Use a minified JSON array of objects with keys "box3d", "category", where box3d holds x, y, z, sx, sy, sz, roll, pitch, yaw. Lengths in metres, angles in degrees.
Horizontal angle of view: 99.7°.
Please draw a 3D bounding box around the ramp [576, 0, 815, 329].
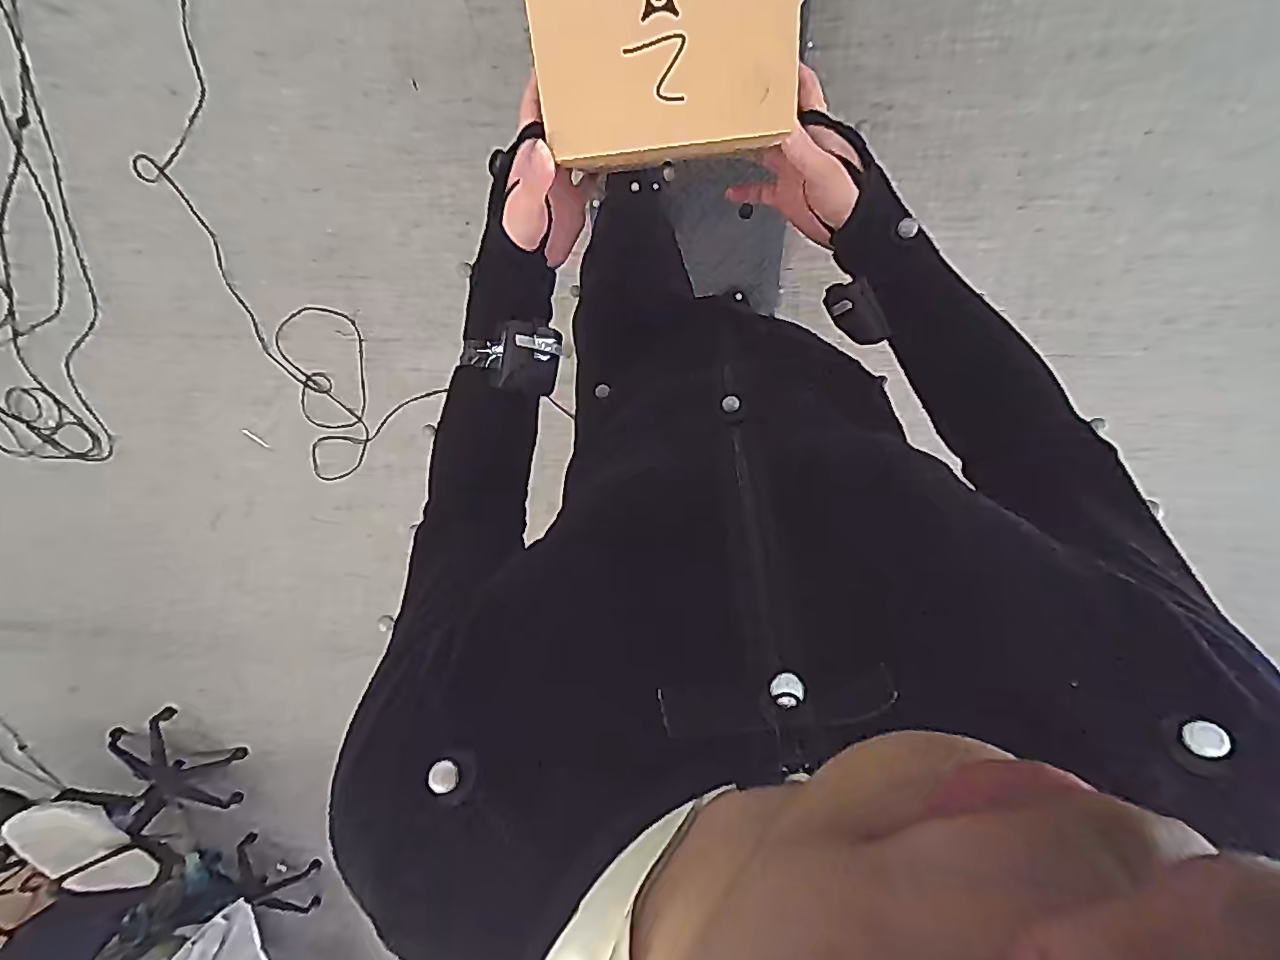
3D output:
[{"box3d":[0.119,-0.827,1.210,0.509,0.206,0.991,0,115,6],"category":"ramp"}]
